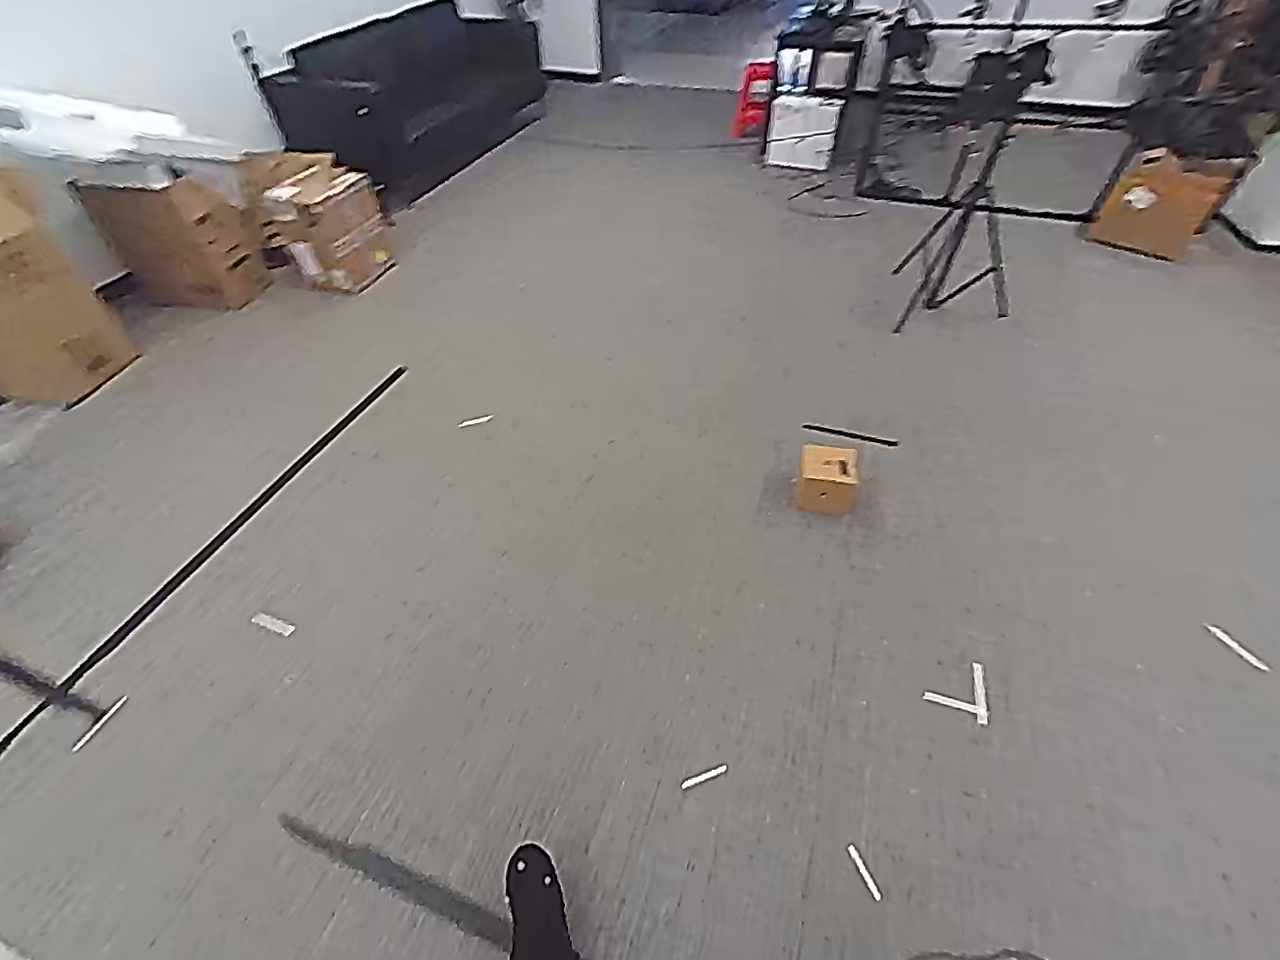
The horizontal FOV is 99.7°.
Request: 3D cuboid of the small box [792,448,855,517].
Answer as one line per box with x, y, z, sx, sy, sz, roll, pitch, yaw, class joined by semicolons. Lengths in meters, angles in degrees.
0.641;0.012;1.898;0.179;0.176;0.168;7;48;9;small box
